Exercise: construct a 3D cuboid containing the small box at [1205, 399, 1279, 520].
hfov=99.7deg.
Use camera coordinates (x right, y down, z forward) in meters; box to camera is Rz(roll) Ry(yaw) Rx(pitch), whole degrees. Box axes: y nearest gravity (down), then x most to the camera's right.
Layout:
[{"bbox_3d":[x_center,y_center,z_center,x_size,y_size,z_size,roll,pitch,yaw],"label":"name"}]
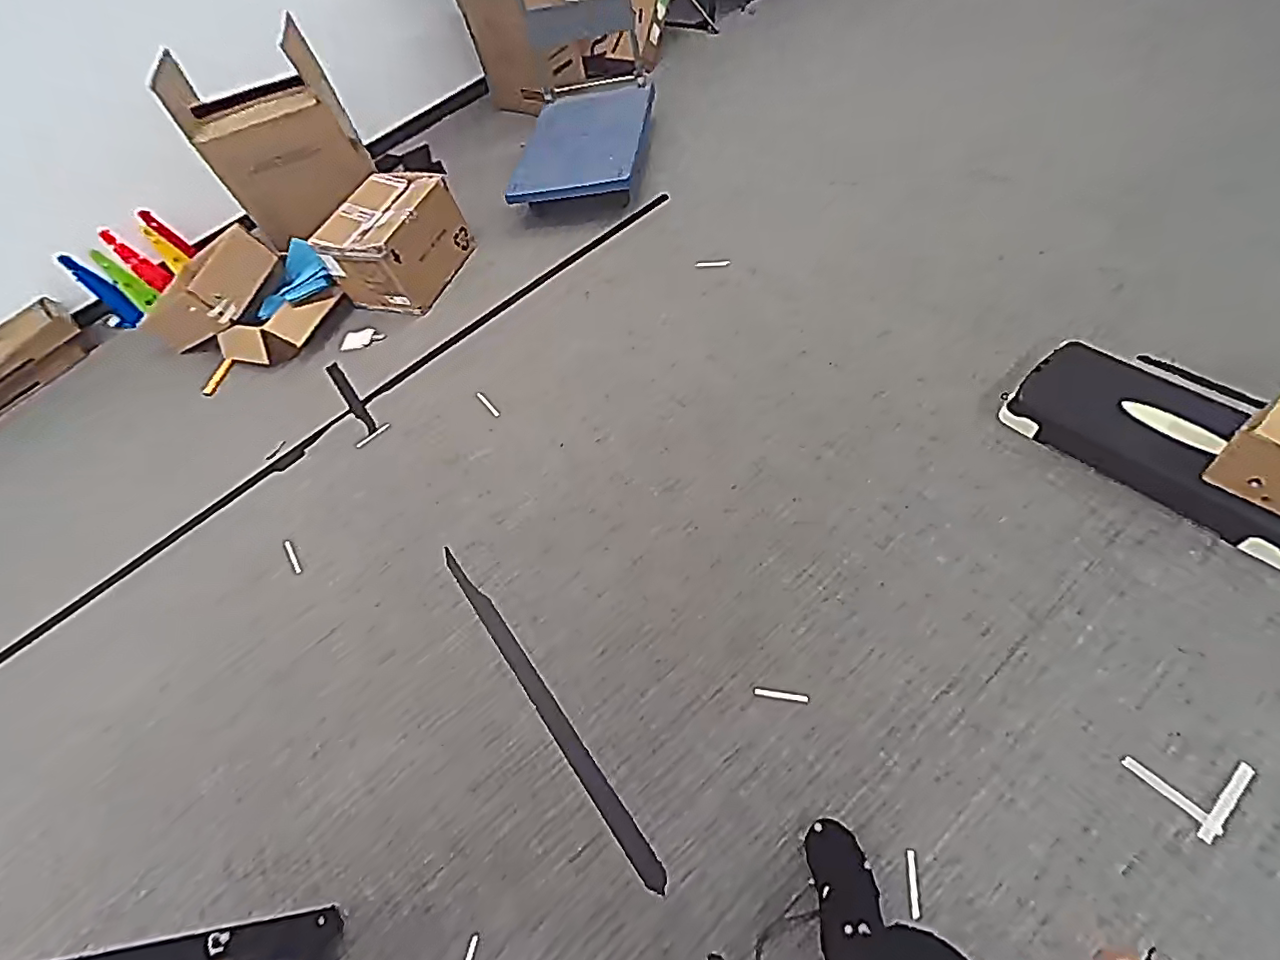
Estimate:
[{"bbox_3d":[1.348,-0.051,1.120,0.179,0.176,0.168,-42,58,-13],"label":"small box"}]
